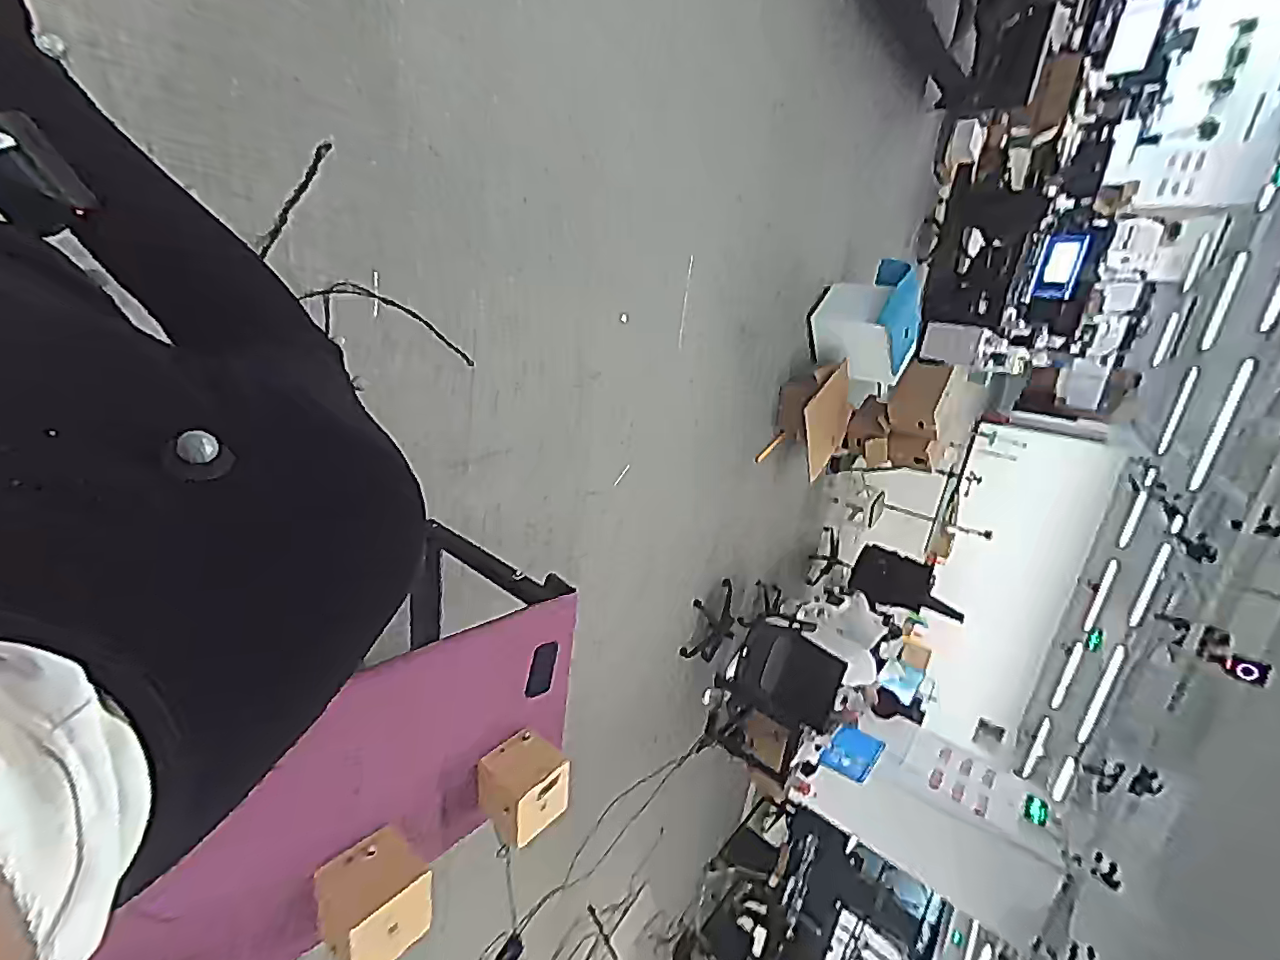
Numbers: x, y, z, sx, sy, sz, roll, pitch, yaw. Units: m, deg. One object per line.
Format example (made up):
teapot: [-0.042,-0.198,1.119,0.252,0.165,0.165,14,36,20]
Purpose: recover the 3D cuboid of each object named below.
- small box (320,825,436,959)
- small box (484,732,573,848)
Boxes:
small box: [-0.547,0.882,1.132,0.168,0.176,0.179,-15,117,-49]
small box: [-0.294,0.794,1.414,0.168,0.176,0.179,-18,121,-47]
